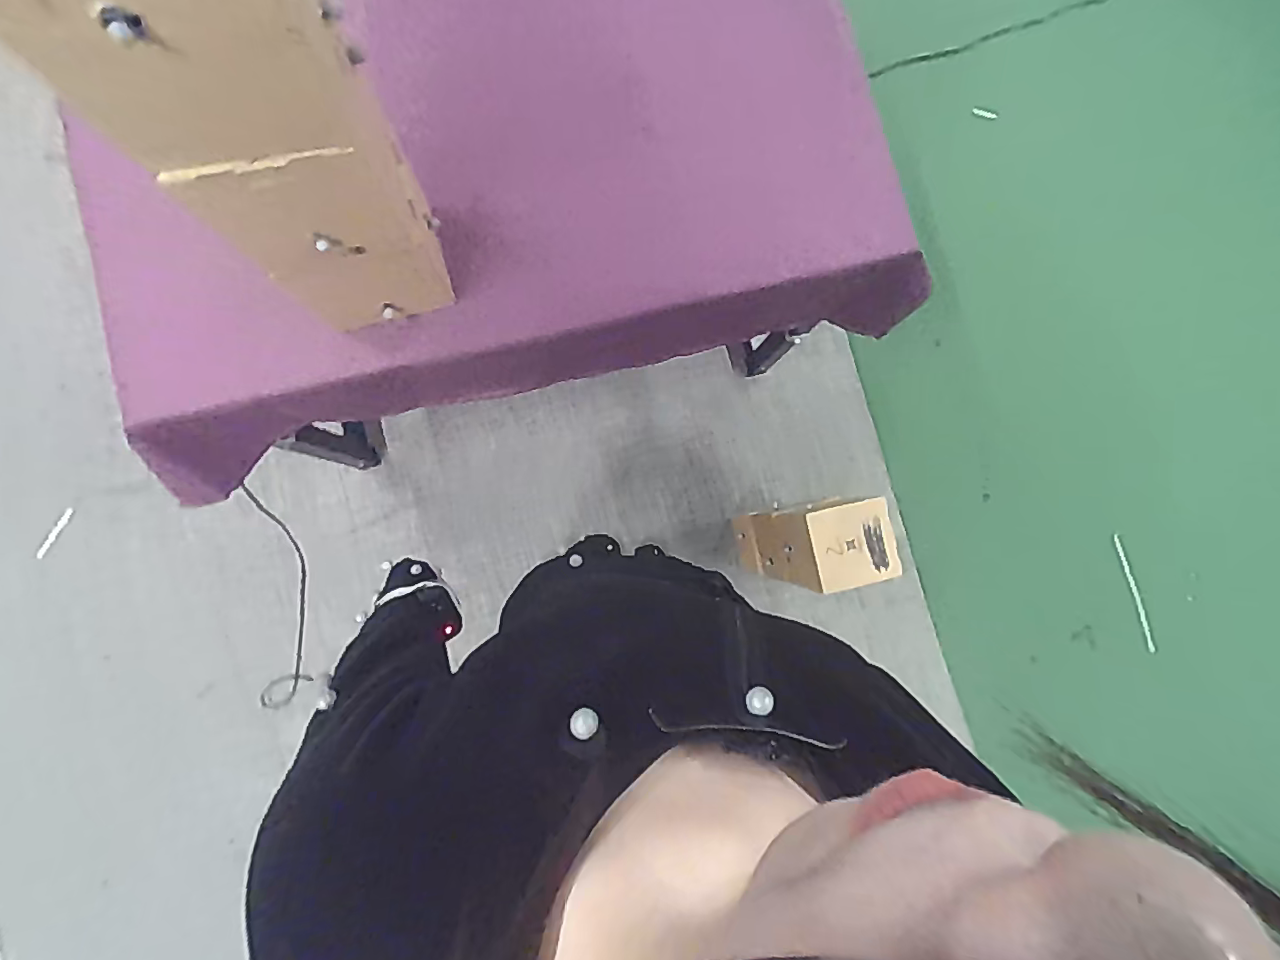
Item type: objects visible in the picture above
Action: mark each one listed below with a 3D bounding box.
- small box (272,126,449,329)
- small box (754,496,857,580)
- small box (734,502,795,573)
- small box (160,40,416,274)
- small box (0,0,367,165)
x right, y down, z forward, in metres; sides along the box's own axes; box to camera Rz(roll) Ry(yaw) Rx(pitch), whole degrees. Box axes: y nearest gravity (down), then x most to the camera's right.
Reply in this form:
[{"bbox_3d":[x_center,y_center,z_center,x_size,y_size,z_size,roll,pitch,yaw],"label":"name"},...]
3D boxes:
[{"bbox_3d":[-0.366,-0.320,0.715,0.179,0.176,0.168,-16,86,-8],"label":"small box"},{"bbox_3d":[0.391,0.140,1.319,0.179,0.176,0.168,-13,87,-8],"label":"small box"},{"bbox_3d":[0.366,0.155,1.480,0.179,0.176,0.168,-10,86,-7],"label":"small box"},{"bbox_3d":[-0.351,-0.342,0.551,0.168,0.176,0.179,-14,86,-6],"label":"small box"},{"bbox_3d":[-0.330,-0.360,0.389,0.179,0.176,0.168,-13,86,-8],"label":"small box"}]
